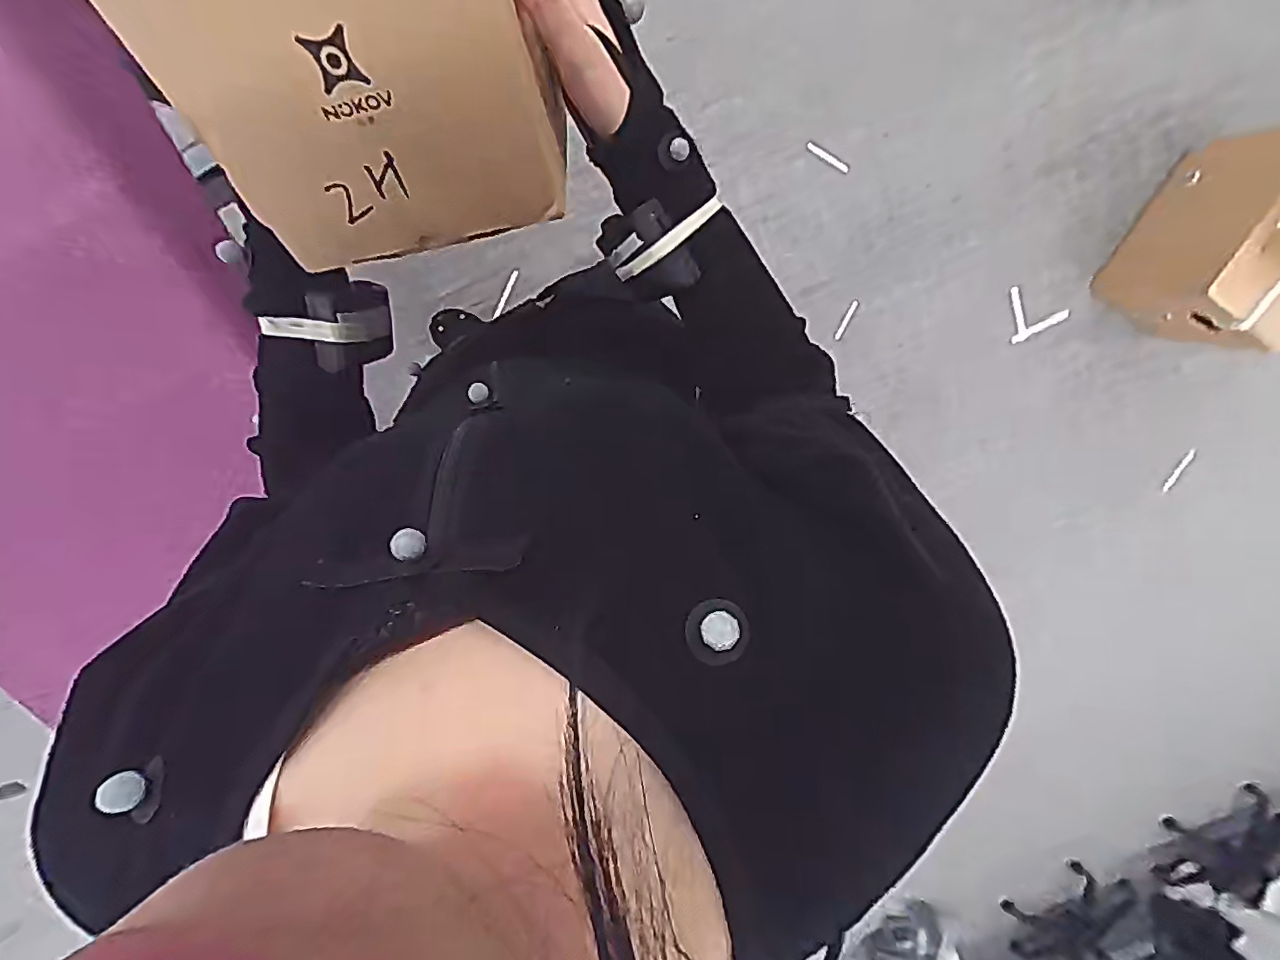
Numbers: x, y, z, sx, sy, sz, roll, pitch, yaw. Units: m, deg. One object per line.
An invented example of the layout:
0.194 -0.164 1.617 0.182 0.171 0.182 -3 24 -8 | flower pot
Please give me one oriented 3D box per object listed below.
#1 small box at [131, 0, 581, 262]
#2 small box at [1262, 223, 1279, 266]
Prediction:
-0.133 -0.257 0.298 0.168 0.176 0.179 -8 144 6 | small box
1.502 -0.523 1.137 0.179 0.176 0.168 23 107 -16 | small box
